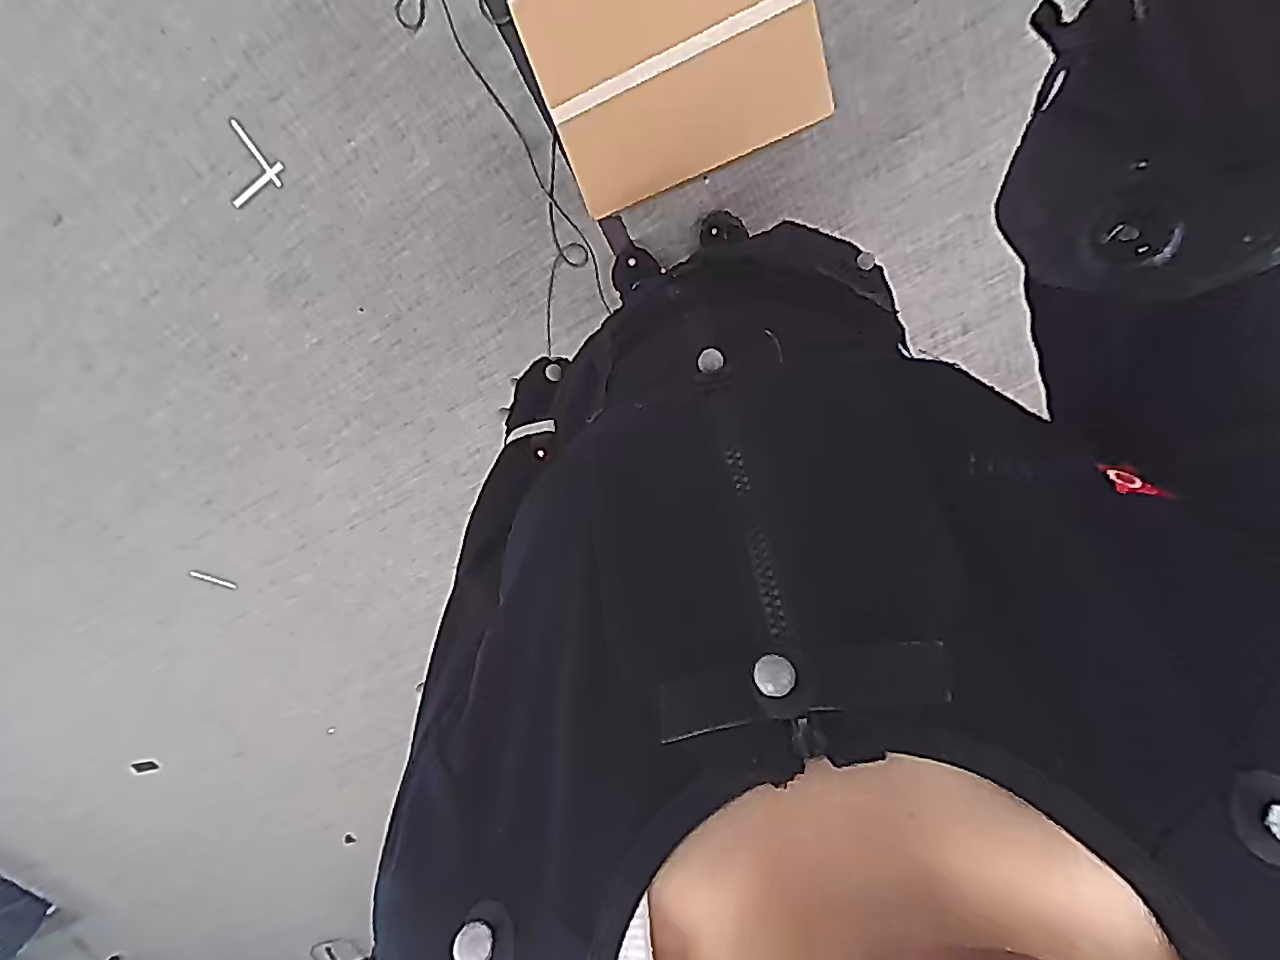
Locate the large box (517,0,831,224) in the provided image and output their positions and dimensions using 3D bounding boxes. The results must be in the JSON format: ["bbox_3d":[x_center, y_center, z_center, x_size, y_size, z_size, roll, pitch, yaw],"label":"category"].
[{"bbox_3d":[0.063,-0.683,0.939,0.408,0.320,0.320,-18,115,13],"label":"large box"}]
